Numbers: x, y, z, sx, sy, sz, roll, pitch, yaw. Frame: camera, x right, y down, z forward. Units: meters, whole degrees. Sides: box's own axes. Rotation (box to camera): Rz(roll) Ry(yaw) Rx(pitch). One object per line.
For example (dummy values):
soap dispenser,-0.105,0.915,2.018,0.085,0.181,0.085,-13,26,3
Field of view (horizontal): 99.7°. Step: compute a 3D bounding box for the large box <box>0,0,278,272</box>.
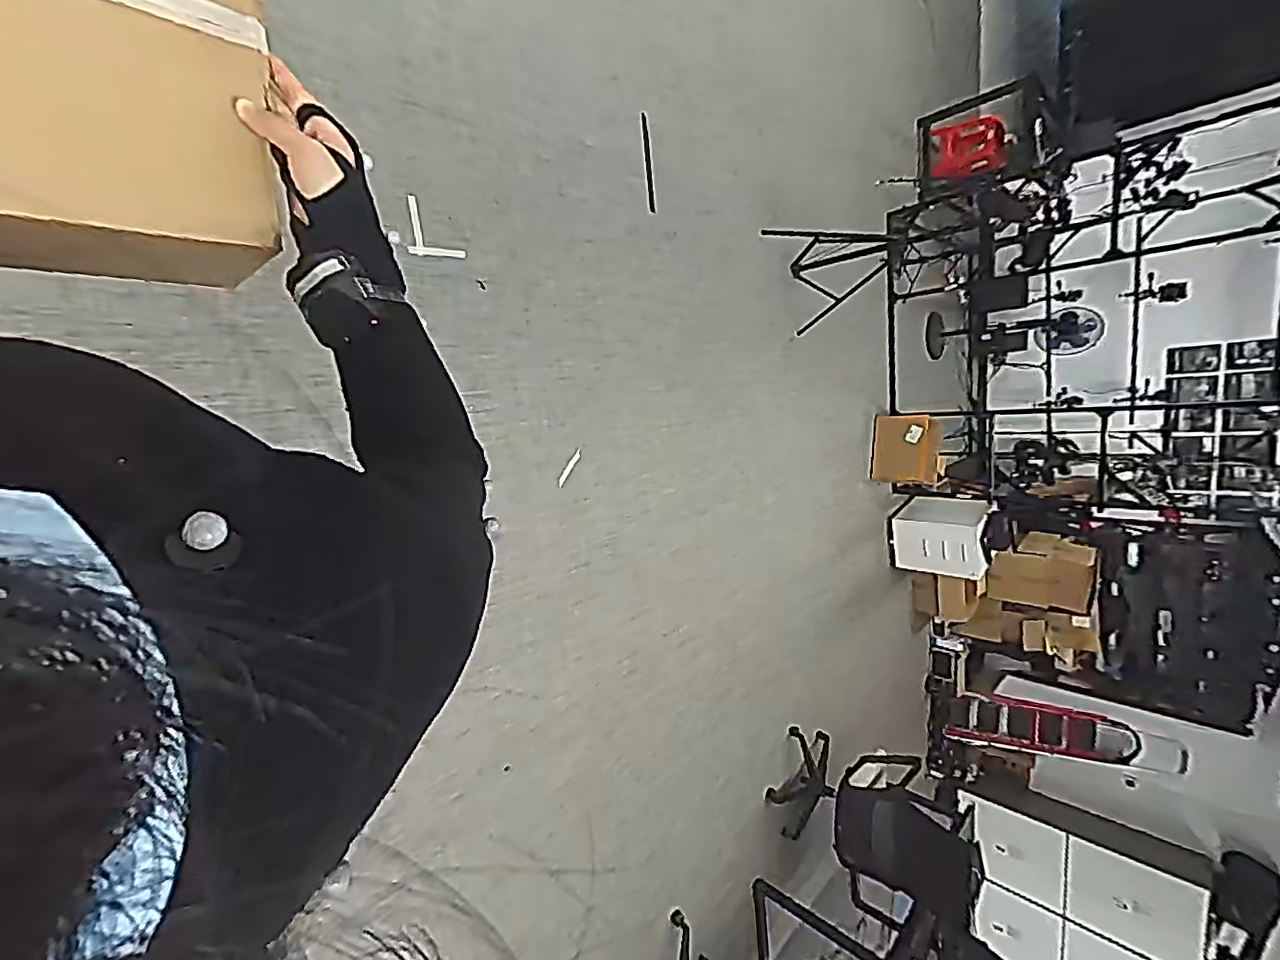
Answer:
large box,-0.557,-0.351,0.412,0.408,0.320,0.320,-11,105,-41
